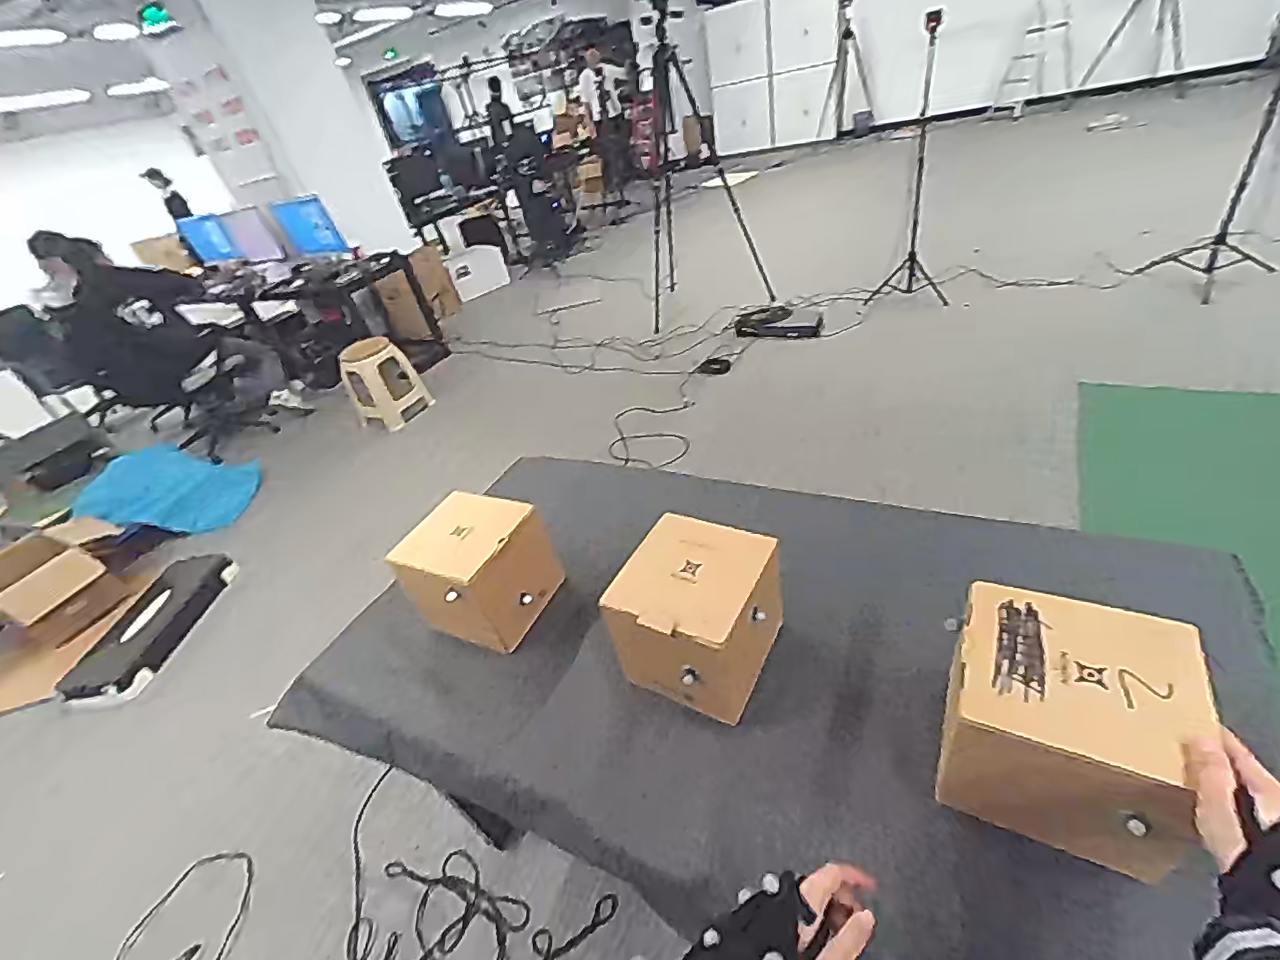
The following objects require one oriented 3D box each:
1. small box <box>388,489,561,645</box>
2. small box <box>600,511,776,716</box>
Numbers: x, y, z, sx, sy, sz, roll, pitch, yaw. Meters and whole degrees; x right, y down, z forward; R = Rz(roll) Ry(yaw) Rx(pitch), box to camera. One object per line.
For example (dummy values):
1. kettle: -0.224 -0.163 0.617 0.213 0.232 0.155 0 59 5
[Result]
1. small box: -0.255 0.138 0.869 0.179 0.176 0.168 8 42 27
2. small box: 0.076 0.172 0.712 0.168 0.176 0.179 13 43 30
